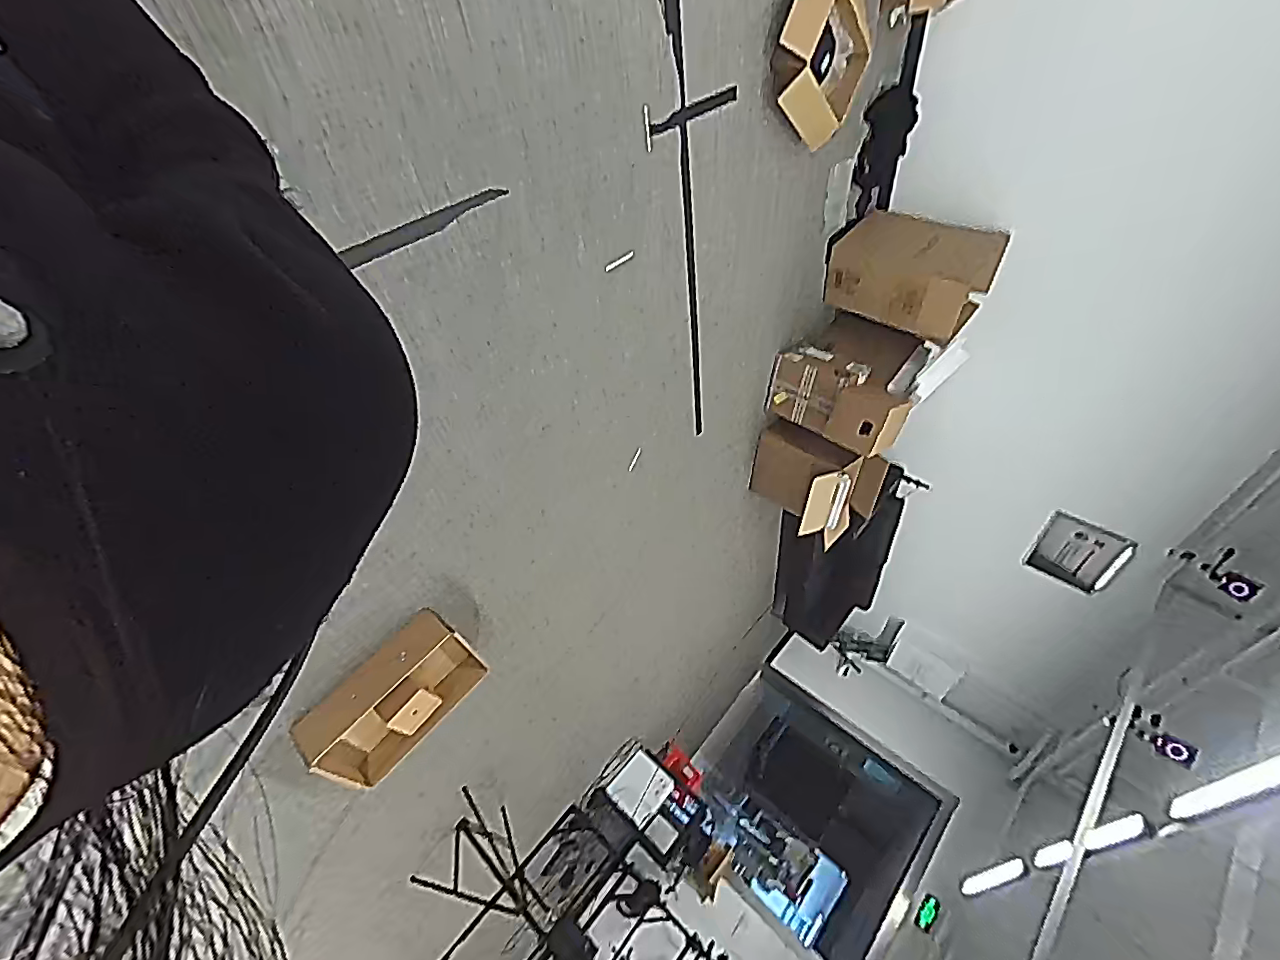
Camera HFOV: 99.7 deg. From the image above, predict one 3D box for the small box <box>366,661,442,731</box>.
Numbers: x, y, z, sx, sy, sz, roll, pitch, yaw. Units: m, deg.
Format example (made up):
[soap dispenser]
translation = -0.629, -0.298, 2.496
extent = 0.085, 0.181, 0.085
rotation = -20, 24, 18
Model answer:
[small box]
translation = -0.914, 0.831, 2.090
extent = 0.168, 0.176, 0.179
rotation = -48, 147, -19
